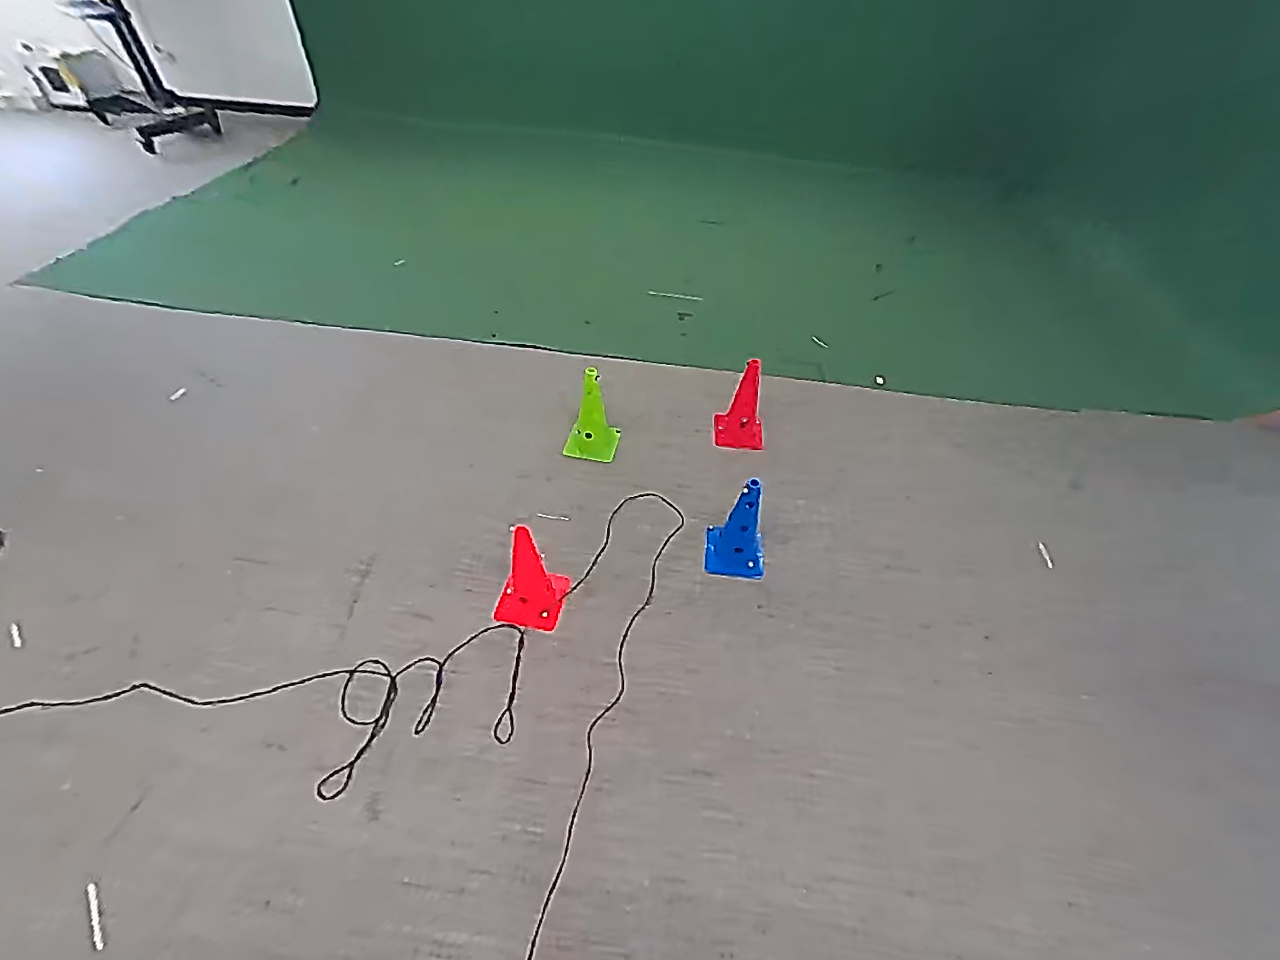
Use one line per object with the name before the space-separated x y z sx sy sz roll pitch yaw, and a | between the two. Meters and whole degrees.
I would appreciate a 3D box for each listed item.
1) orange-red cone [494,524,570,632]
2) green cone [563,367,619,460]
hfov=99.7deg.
orange-red cone | -0.325 0.252 1.570 0.198 0.360 0.199 11 46 5
green cone | -0.190 -0.274 2.060 0.200 0.368 0.202 9 48 5
